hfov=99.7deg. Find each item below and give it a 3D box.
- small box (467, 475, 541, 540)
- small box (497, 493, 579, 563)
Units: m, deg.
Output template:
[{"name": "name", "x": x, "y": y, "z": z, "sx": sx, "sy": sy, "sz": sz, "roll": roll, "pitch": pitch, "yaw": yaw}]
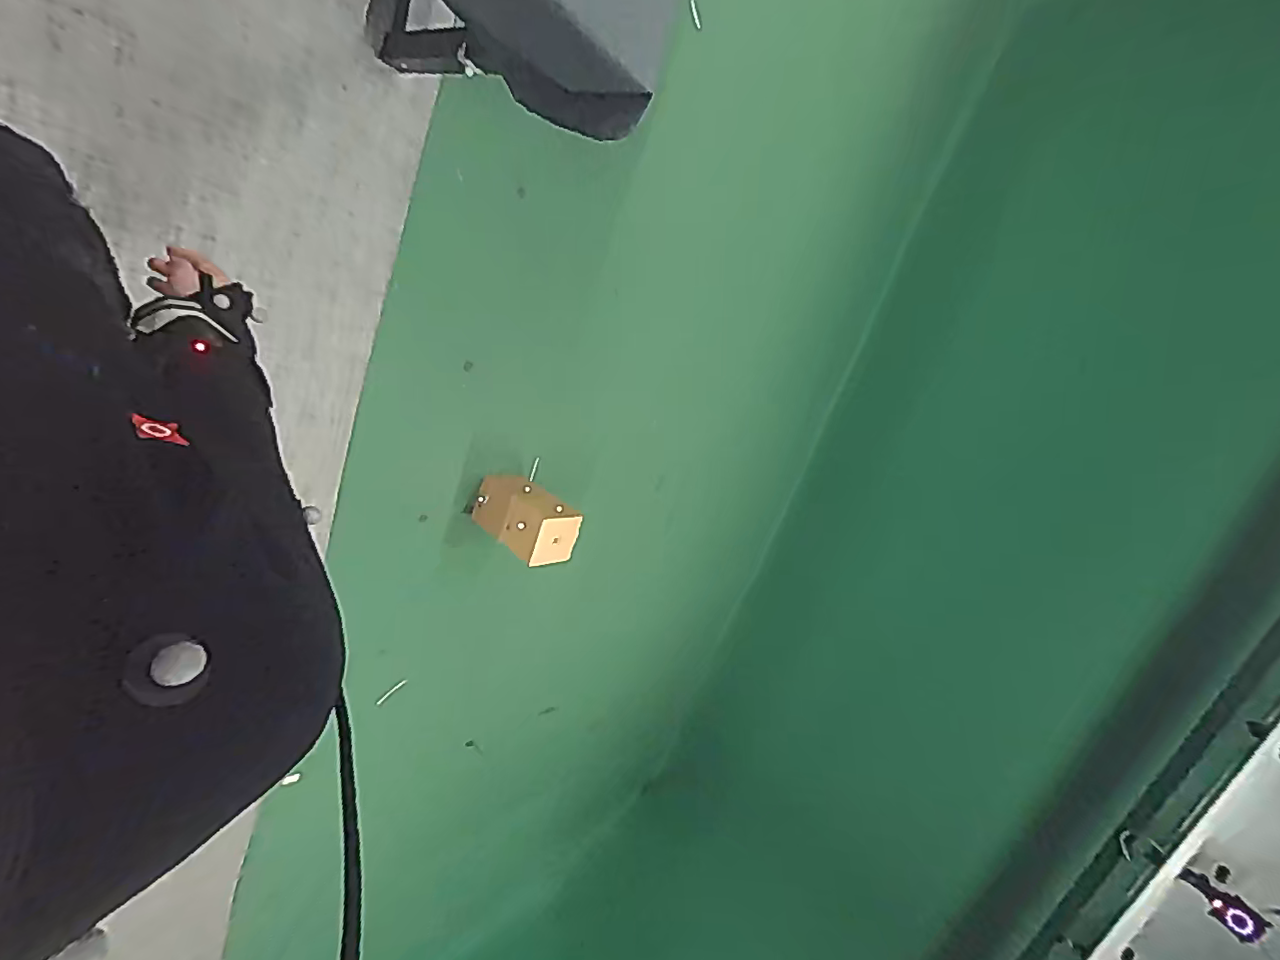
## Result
[{"name": "small box", "x": -0.452, "y": 0.089, "z": 1.837, "sx": 0.179, "sy": 0.176, "sz": 0.168, "roll": 1, "pitch": 113, "yaw": -52}, {"name": "small box", "x": -0.334, "y": 0.149, "z": 1.742, "sx": 0.179, "sy": 0.176, "sz": 0.168, "roll": -1, "pitch": 116, "yaw": -53}]
